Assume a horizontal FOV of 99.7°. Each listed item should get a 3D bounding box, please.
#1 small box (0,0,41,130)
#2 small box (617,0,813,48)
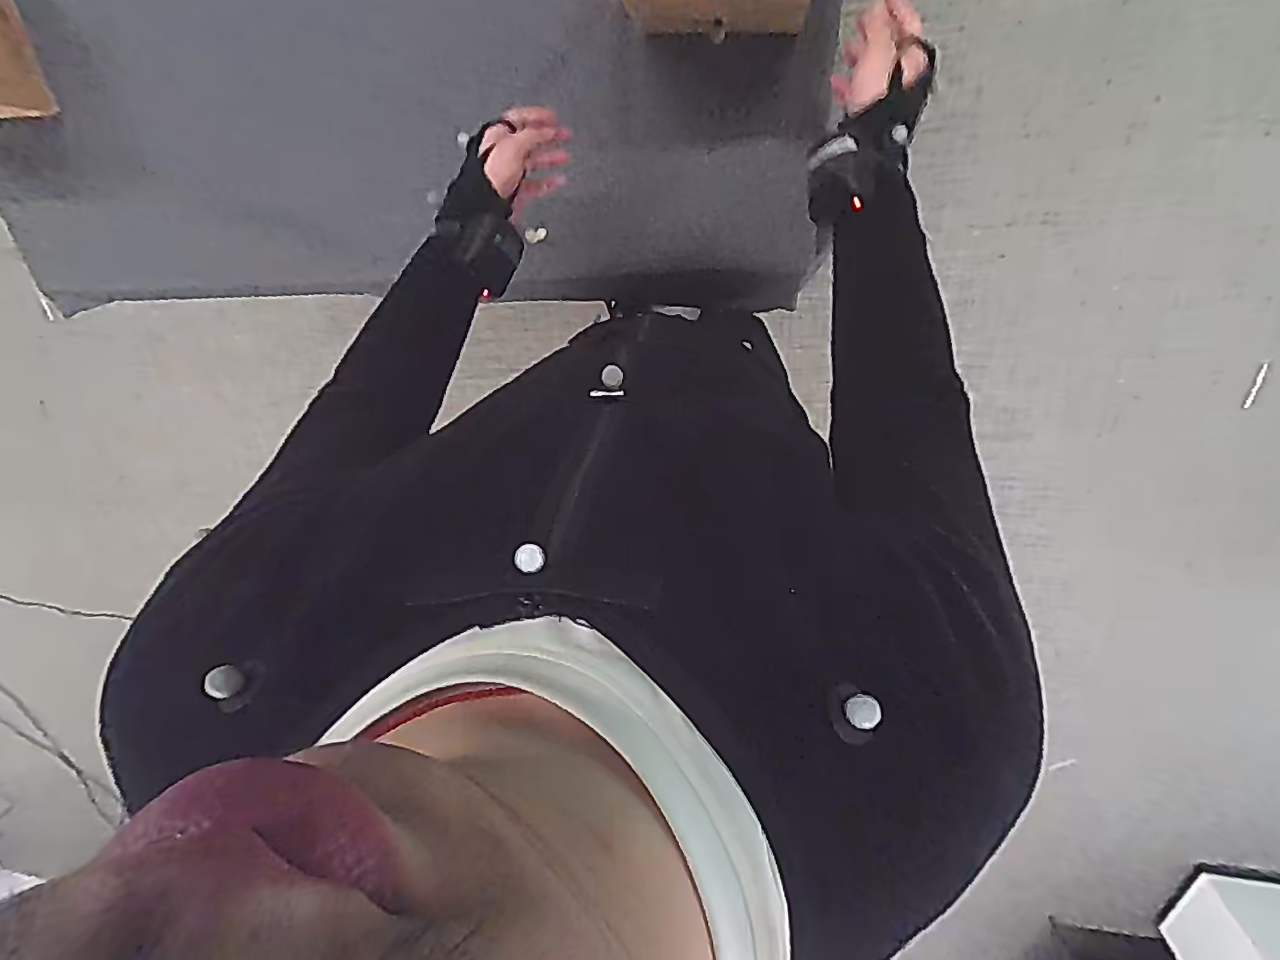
[{"bbox_3d":[-0.892,-0.530,0.645,0.179,0.176,0.168,4,115,7],"label":"small box"},{"bbox_3d":[0.077,-0.525,0.502,0.179,0.176,0.168,5,117,7],"label":"small box"}]
